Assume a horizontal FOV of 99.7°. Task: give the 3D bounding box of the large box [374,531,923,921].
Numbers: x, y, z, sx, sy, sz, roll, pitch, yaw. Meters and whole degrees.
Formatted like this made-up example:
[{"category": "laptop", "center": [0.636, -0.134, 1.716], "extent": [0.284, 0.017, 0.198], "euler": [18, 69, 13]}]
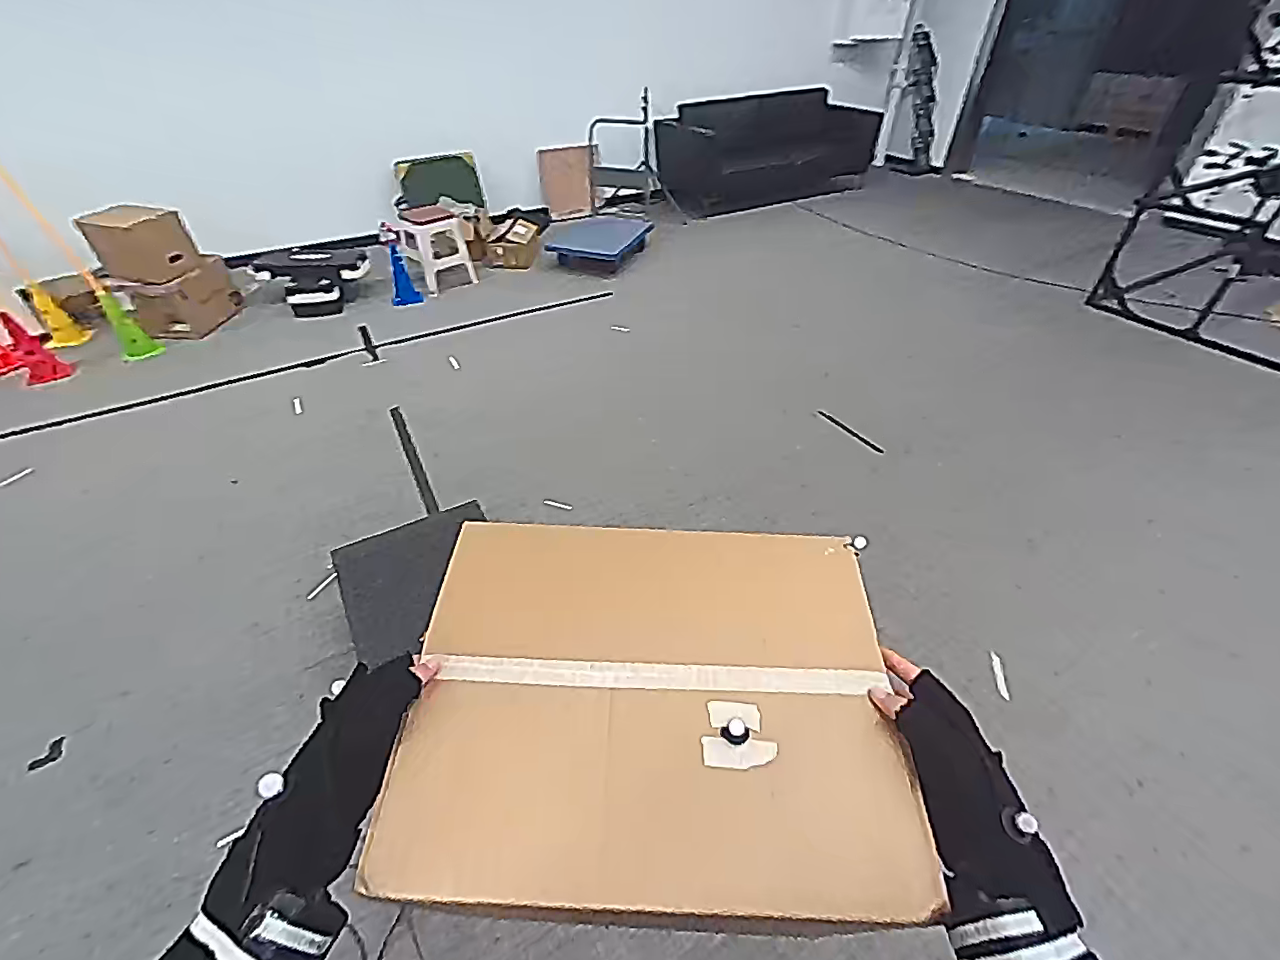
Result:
[{"category": "large box", "center": [0.005, 0.274, 0.593], "extent": [0.408, 0.320, 0.320], "euler": [2, 49, 0]}]
